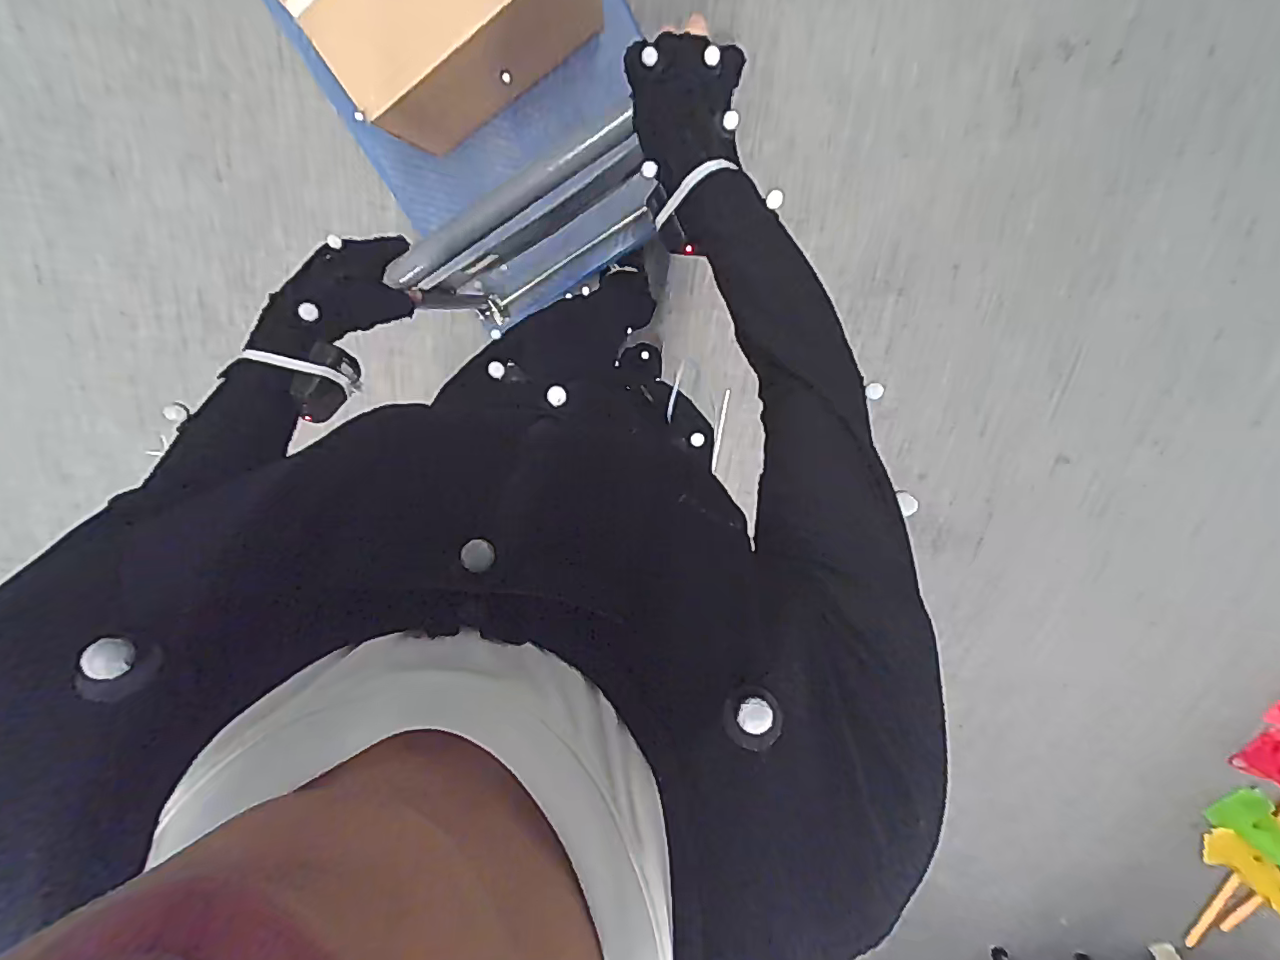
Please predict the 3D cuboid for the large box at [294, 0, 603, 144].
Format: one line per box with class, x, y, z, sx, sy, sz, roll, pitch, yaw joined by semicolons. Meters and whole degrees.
large box;-0.310;-0.820;0.848;0.408;0.320;0.320;-31;109;13
